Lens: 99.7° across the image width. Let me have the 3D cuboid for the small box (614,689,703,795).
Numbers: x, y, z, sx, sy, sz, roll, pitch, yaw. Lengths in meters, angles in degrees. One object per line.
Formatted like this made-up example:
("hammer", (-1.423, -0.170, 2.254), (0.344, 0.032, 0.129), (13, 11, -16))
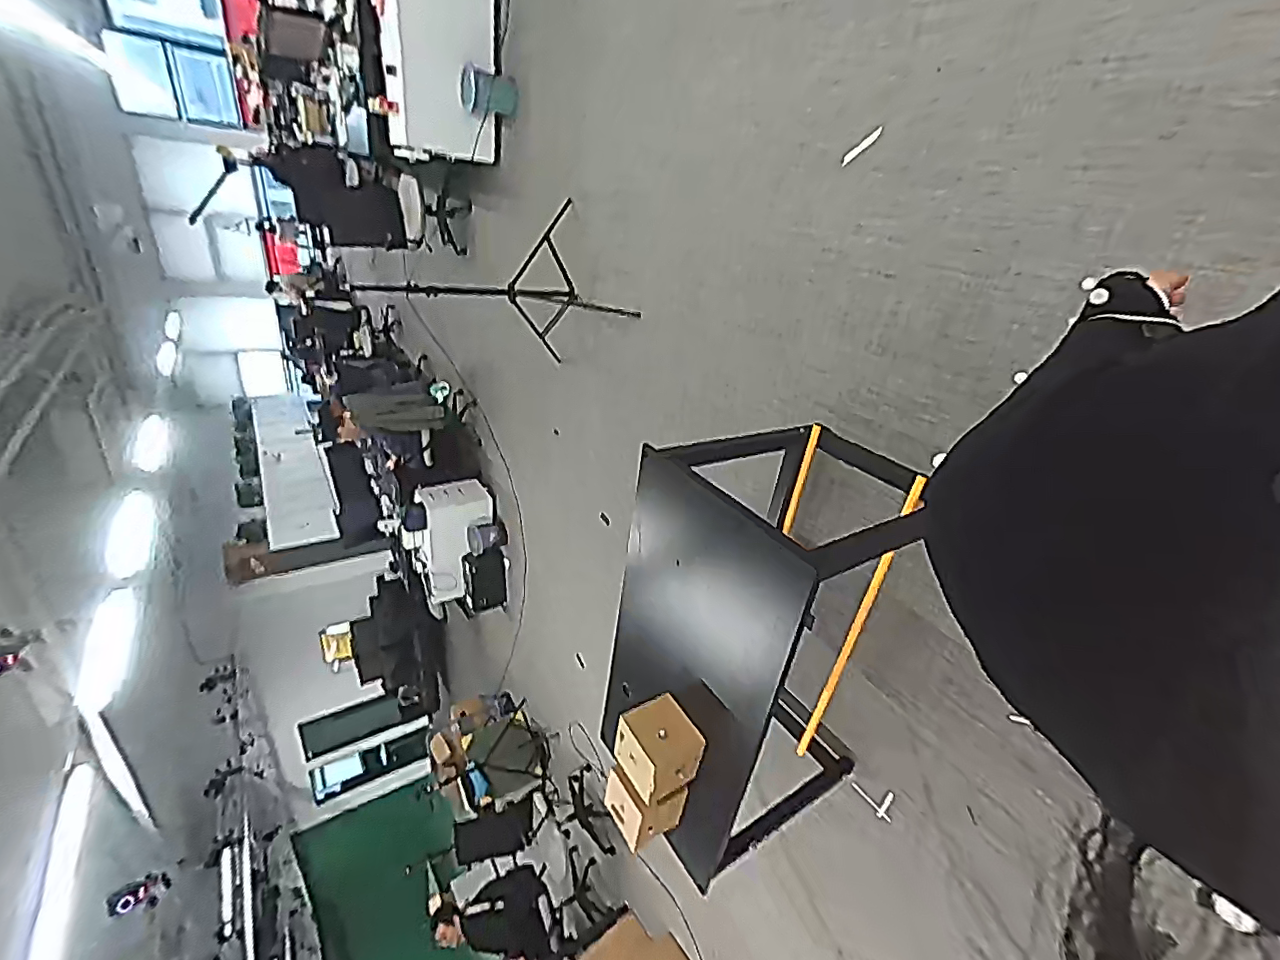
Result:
("small box", (0.051, 0.719, 1.503), (0.179, 0.176, 0.168), (40, 130, 44))

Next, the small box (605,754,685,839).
("small box", (0.014, 0.917, 1.619), (0.168, 0.176, 0.179), (40, 131, 44))
